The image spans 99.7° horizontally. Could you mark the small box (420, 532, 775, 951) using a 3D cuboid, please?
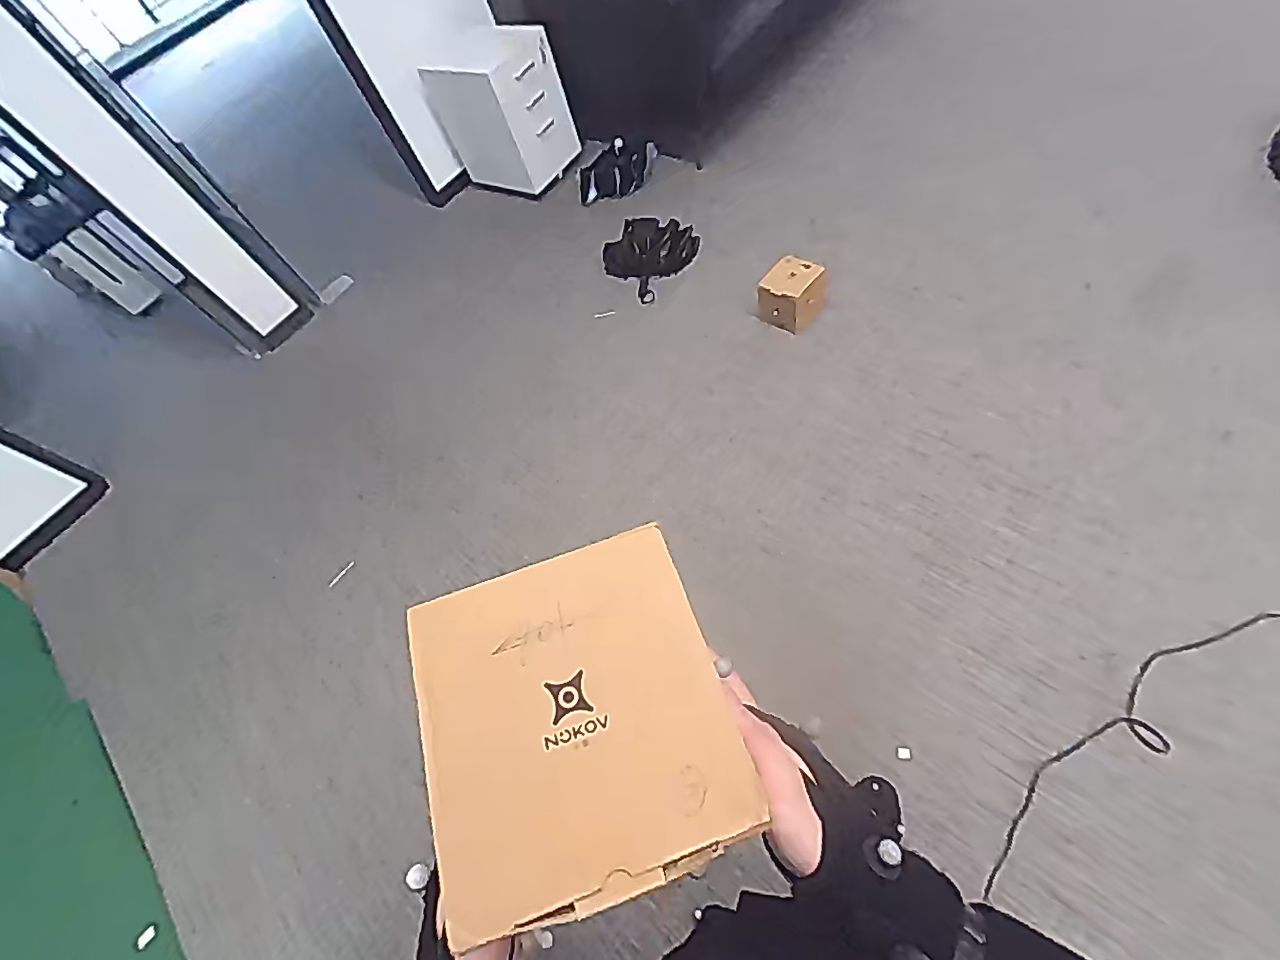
[{"bbox_3d":[-0.027,0.167,0.372,0.168,0.176,0.179,-19,59,-7],"label":"small box"}]
